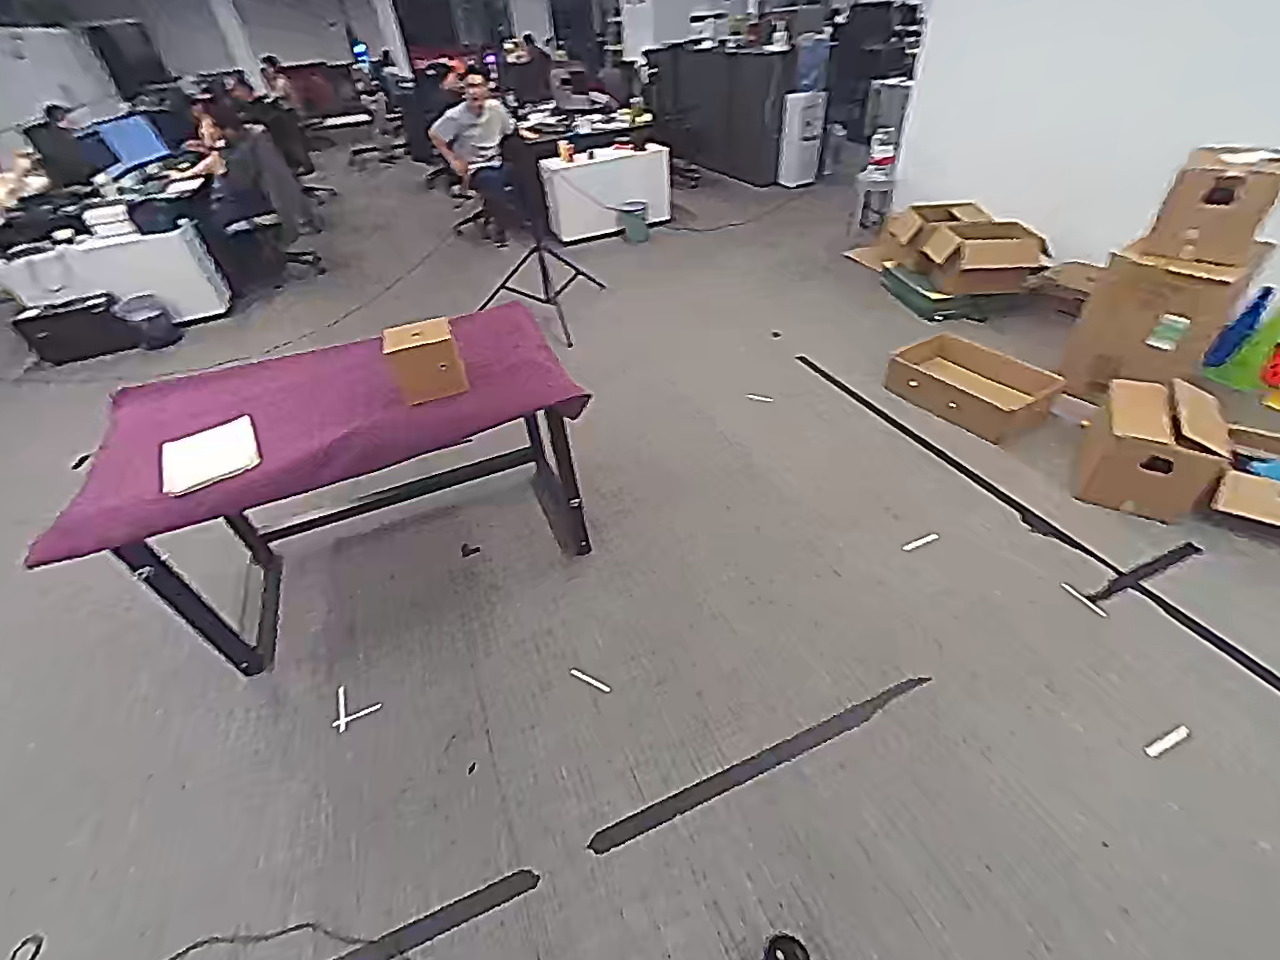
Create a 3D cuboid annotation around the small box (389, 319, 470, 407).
[{"bbox_3d":[-0.597,-0.334,1.547,0.179,0.176,0.168,-18,40,-11],"label":"small box"}]
